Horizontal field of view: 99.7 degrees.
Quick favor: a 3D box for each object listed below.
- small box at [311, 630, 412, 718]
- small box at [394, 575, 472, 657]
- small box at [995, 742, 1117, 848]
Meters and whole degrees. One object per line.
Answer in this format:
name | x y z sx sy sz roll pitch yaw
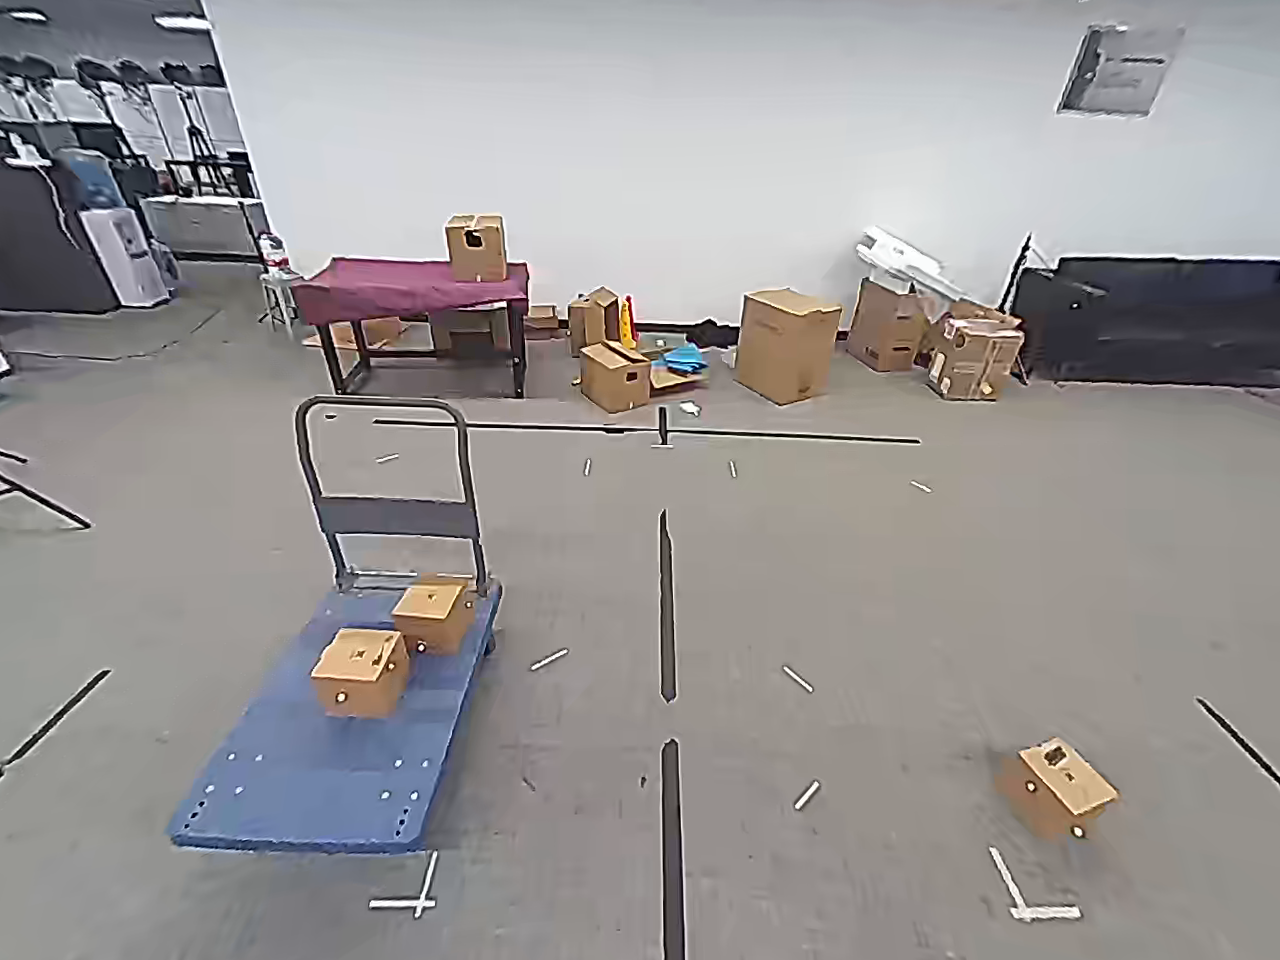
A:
small box | -0.764 0.539 1.504 0.179 0.176 0.168 3 34 2
small box | -0.637 0.424 1.695 0.168 0.176 0.179 3 34 4
small box | 1.136 0.869 1.494 0.168 0.176 0.179 -8 35 -16
